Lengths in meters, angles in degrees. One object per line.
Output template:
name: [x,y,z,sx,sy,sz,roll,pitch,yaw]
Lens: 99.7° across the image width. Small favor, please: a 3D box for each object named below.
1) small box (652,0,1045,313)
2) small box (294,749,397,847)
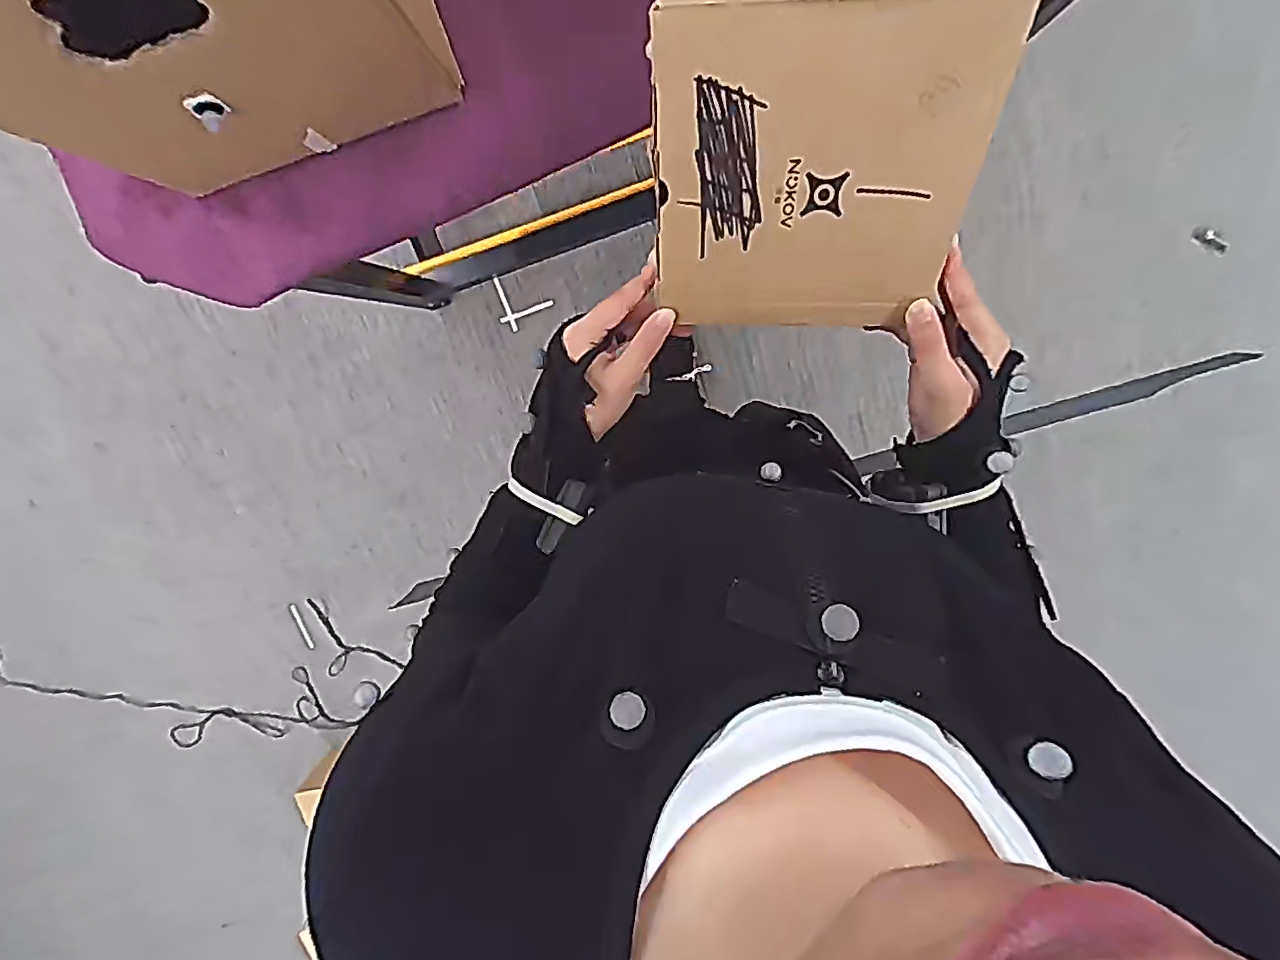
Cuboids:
small box: [0.102,-0.224,0.349,0.179,0.176,0.168,1,135,5]
small box: [-0.827,0.891,1.535,0.168,0.176,0.179,-12,104,6]
